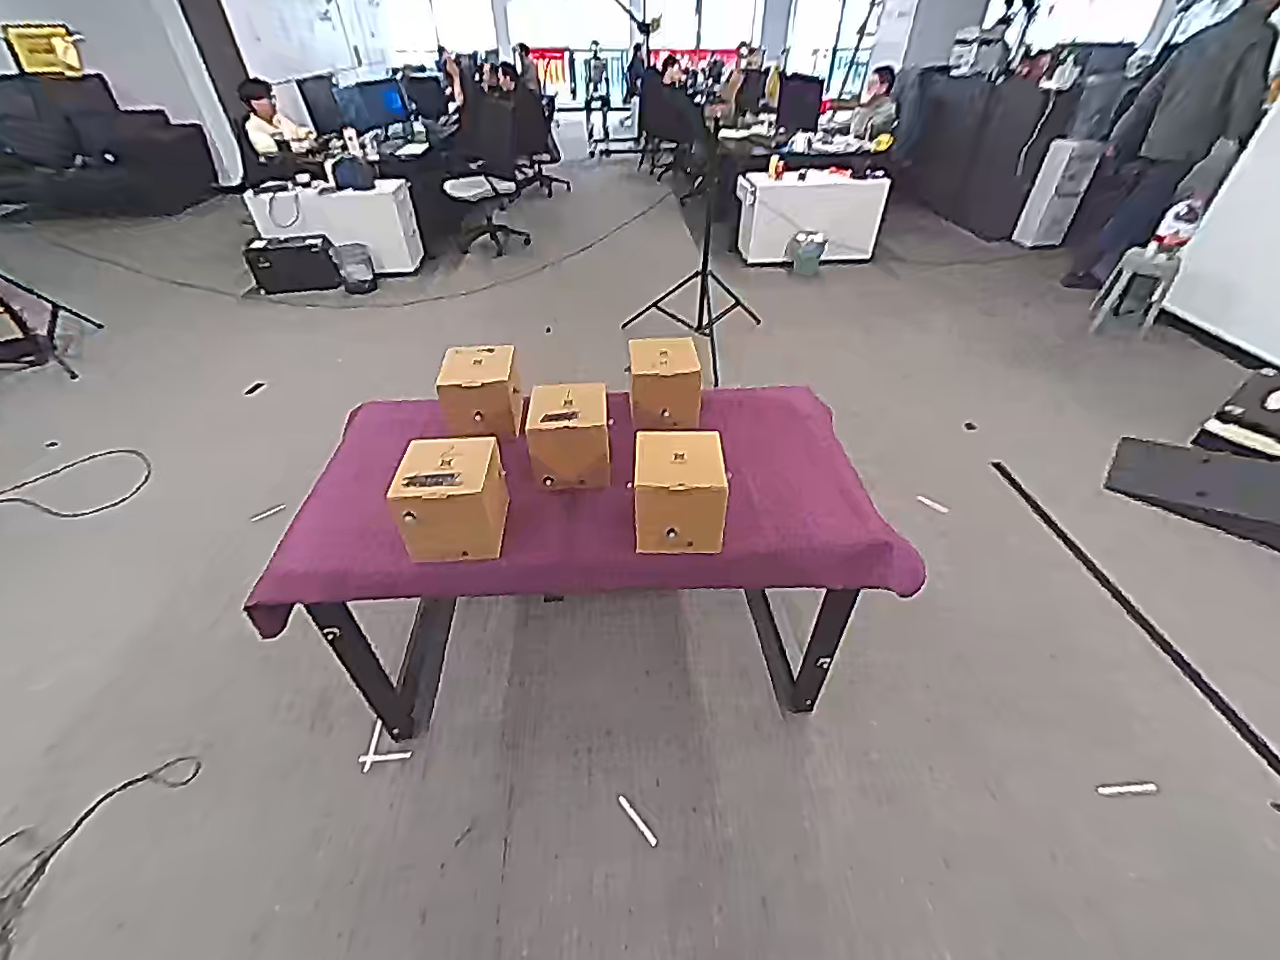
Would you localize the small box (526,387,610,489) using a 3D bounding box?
[{"bbox_3d":[-0.153,-0.090,1.212,0.168,0.176,0.179,-2,39,-3],"label":"small box"}]

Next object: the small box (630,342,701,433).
[{"bbox_3d":[0.058,-0.236,1.379,0.168,0.176,0.179,-4,41,-2],"label":"small box"}]

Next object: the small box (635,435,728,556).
[{"bbox_3d":[0.075,0.028,1.067,0.168,0.176,0.179,0,39,1],"label":"small box"}]

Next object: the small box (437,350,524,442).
[{"bbox_3d":[-0.388,-0.204,1.346,0.168,0.176,0.179,-3,42,-4],"label":"small box"}]
